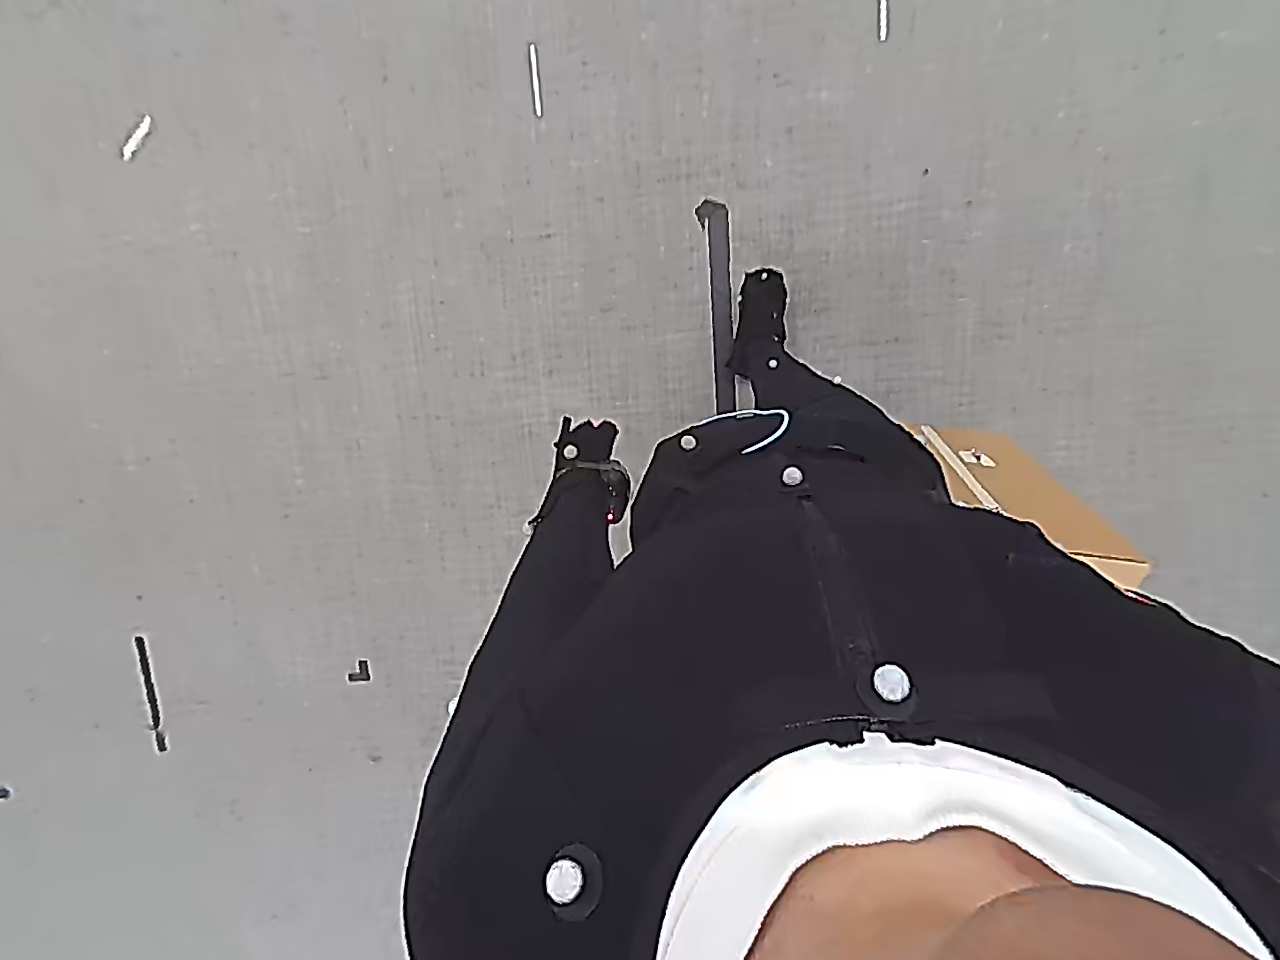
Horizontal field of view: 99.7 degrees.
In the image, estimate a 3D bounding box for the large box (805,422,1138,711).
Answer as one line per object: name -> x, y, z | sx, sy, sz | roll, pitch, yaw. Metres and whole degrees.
large box -> 0.498, 0.124, 0.939 | 0.320, 0.408, 0.320 | 7, 117, 3
